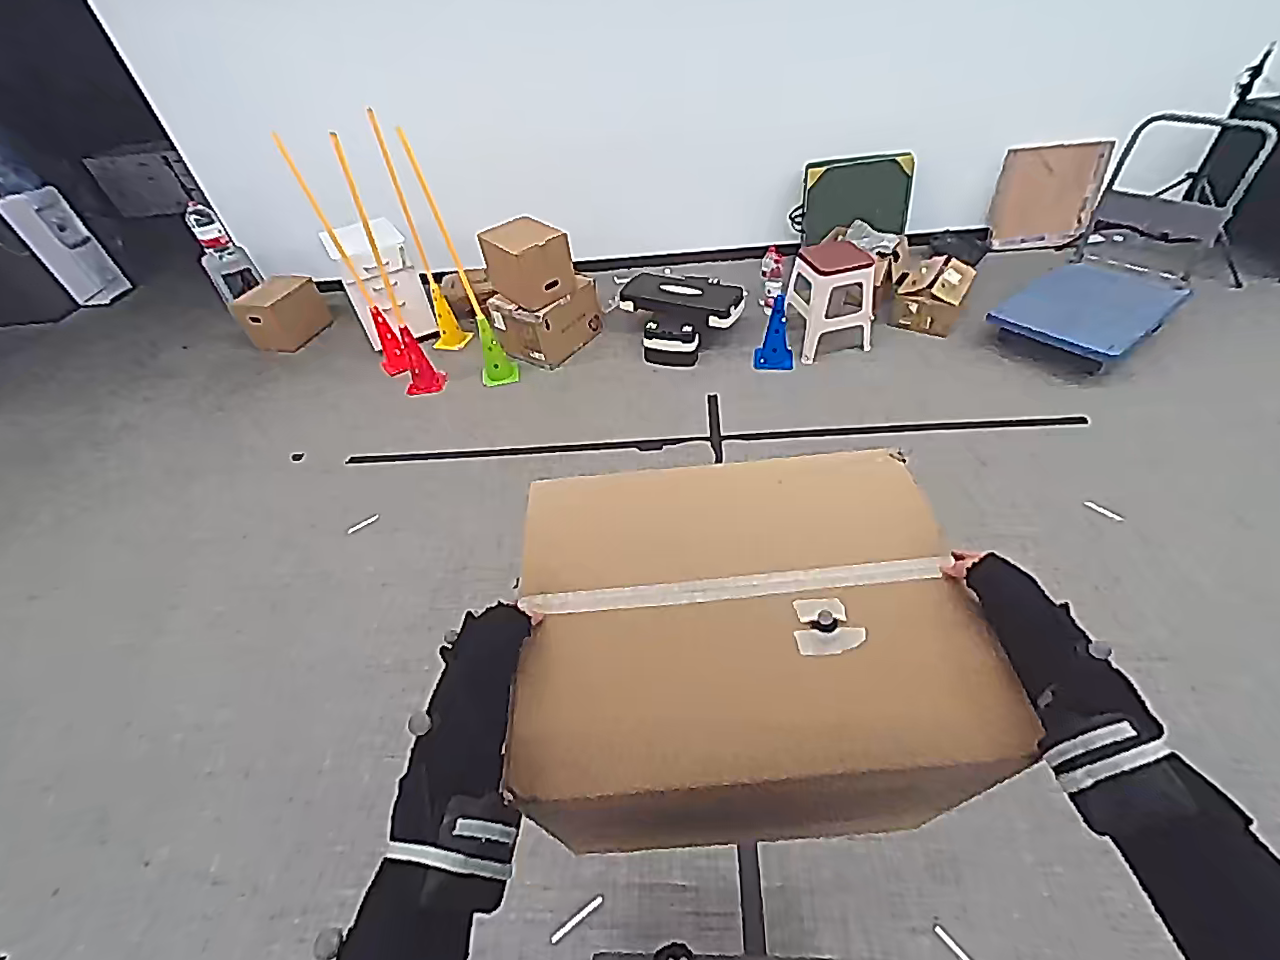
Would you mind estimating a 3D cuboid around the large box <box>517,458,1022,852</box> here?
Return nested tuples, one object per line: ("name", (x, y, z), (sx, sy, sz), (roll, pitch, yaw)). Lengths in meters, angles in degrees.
("large box", (0.098, 0.206, 0.624), (0.408, 0.320, 0.320), (-5, 49, 1))
